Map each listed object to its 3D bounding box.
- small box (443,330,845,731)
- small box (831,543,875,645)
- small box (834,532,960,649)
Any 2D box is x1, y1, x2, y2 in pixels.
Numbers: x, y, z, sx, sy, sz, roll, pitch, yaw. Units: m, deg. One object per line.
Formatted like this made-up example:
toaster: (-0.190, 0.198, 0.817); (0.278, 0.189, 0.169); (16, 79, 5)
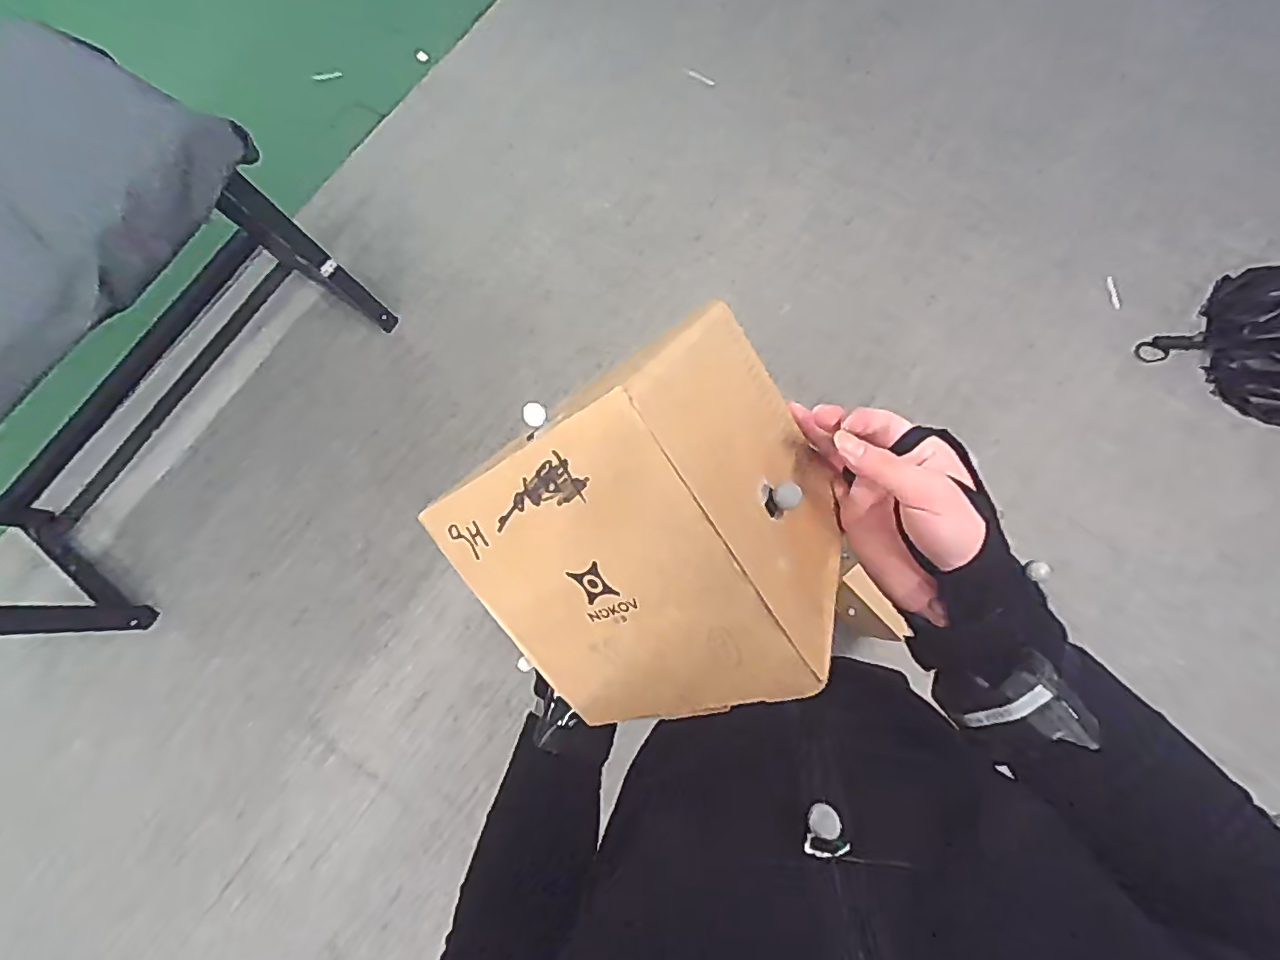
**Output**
small box: (0.020, 0.031, 0.356); (0.168, 0.176, 0.179); (-26, 107, 34)
small box: (0.548, 0.277, 1.321); (0.179, 0.176, 0.168); (-42, 74, -4)
small box: (0.531, 0.238, 1.162); (0.179, 0.176, 0.168); (-40, 74, -4)
